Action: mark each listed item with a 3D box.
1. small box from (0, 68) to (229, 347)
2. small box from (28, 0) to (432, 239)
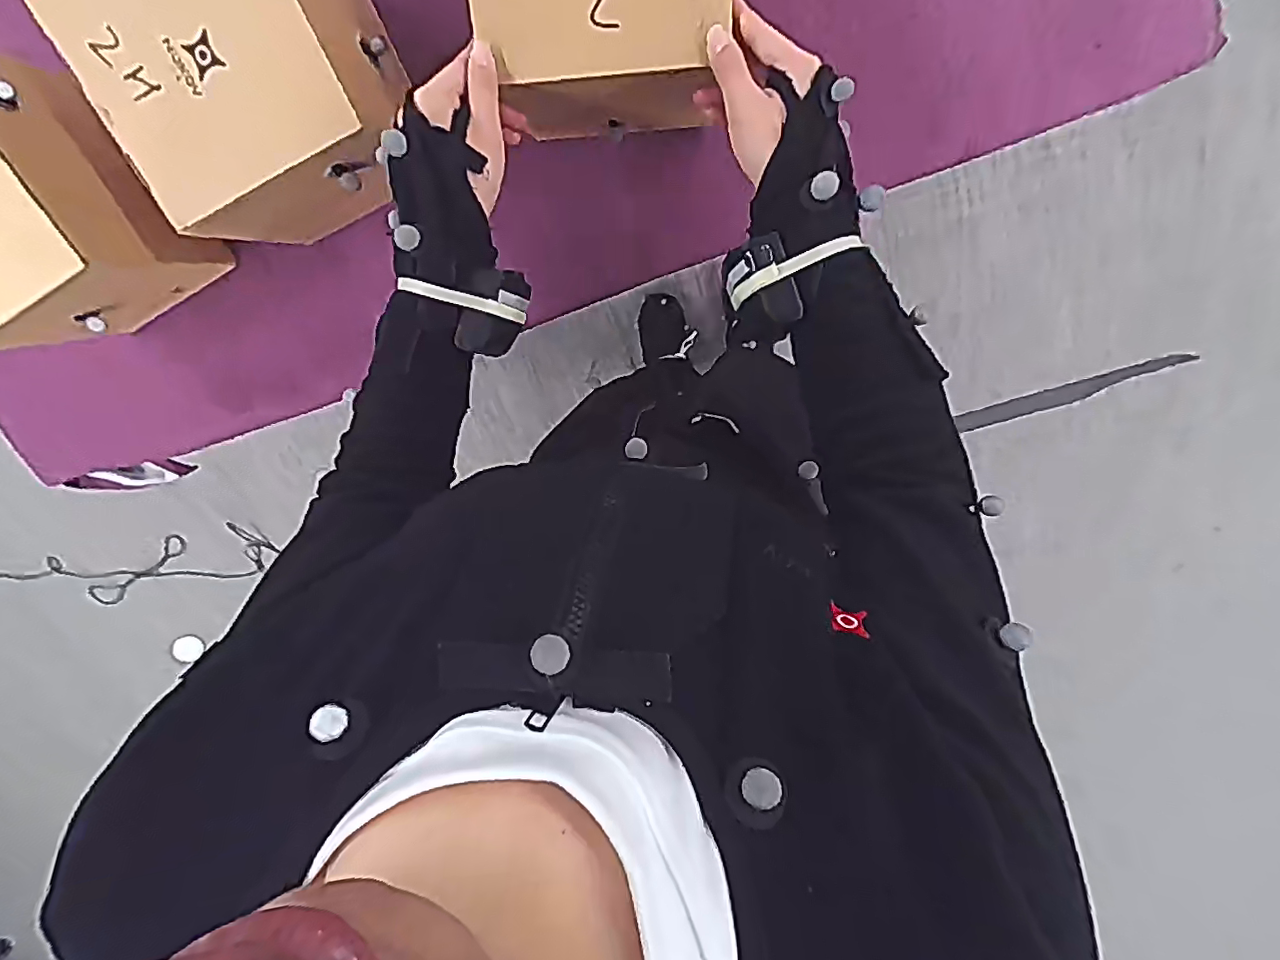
[{"bbox_3d":[-0.539,-0.241,0.490,0.168,0.176,0.179,-24,107,12],"label":"small box"},{"bbox_3d":[-0.299,-0.318,0.444,0.179,0.176,0.168,-22,107,10],"label":"small box"}]
